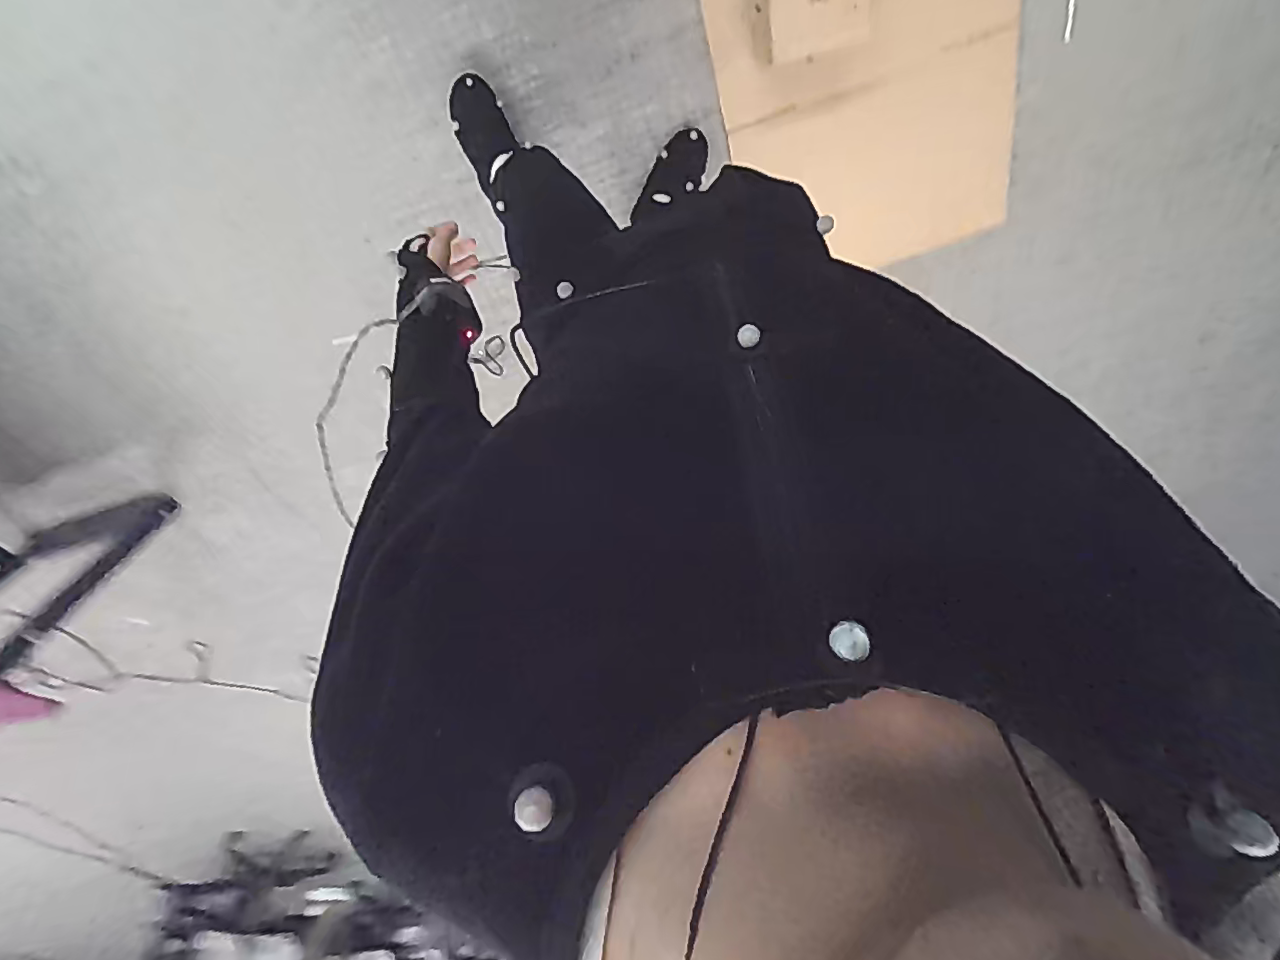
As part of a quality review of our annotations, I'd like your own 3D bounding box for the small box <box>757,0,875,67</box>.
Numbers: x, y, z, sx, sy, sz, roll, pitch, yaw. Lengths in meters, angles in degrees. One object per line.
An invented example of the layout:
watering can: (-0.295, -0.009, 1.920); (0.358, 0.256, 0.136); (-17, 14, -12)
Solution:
small box: (0.313, -0.876, 0.989); (0.179, 0.176, 0.168); (-11, 126, 5)
